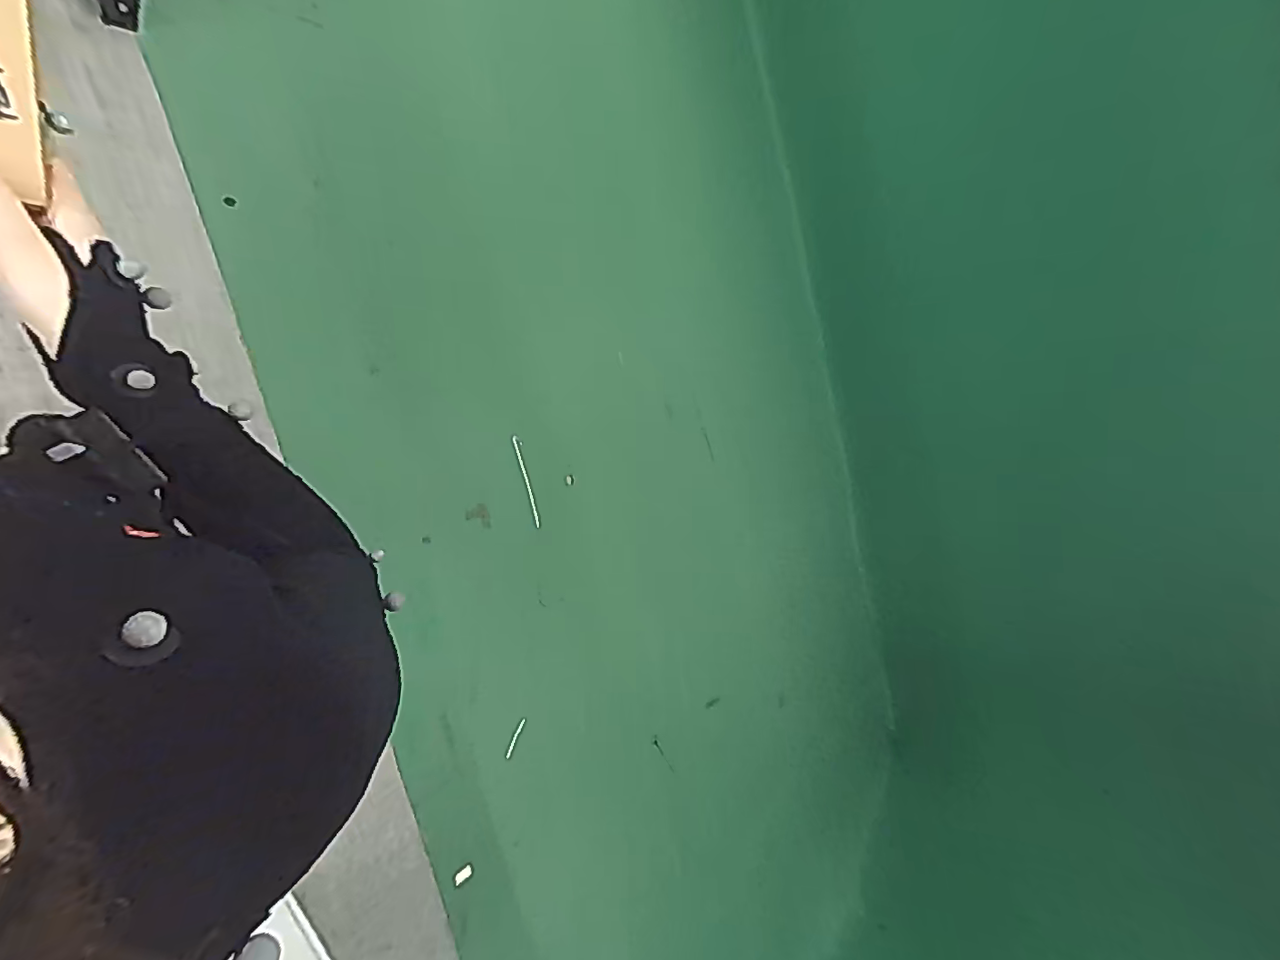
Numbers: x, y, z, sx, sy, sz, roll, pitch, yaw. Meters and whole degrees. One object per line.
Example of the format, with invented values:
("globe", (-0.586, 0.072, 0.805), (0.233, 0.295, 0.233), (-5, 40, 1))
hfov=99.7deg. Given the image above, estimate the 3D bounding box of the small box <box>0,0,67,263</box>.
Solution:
("small box", (-0.477, -0.245, 0.317), (0.179, 0.176, 0.168), (-5, 93, -43))
